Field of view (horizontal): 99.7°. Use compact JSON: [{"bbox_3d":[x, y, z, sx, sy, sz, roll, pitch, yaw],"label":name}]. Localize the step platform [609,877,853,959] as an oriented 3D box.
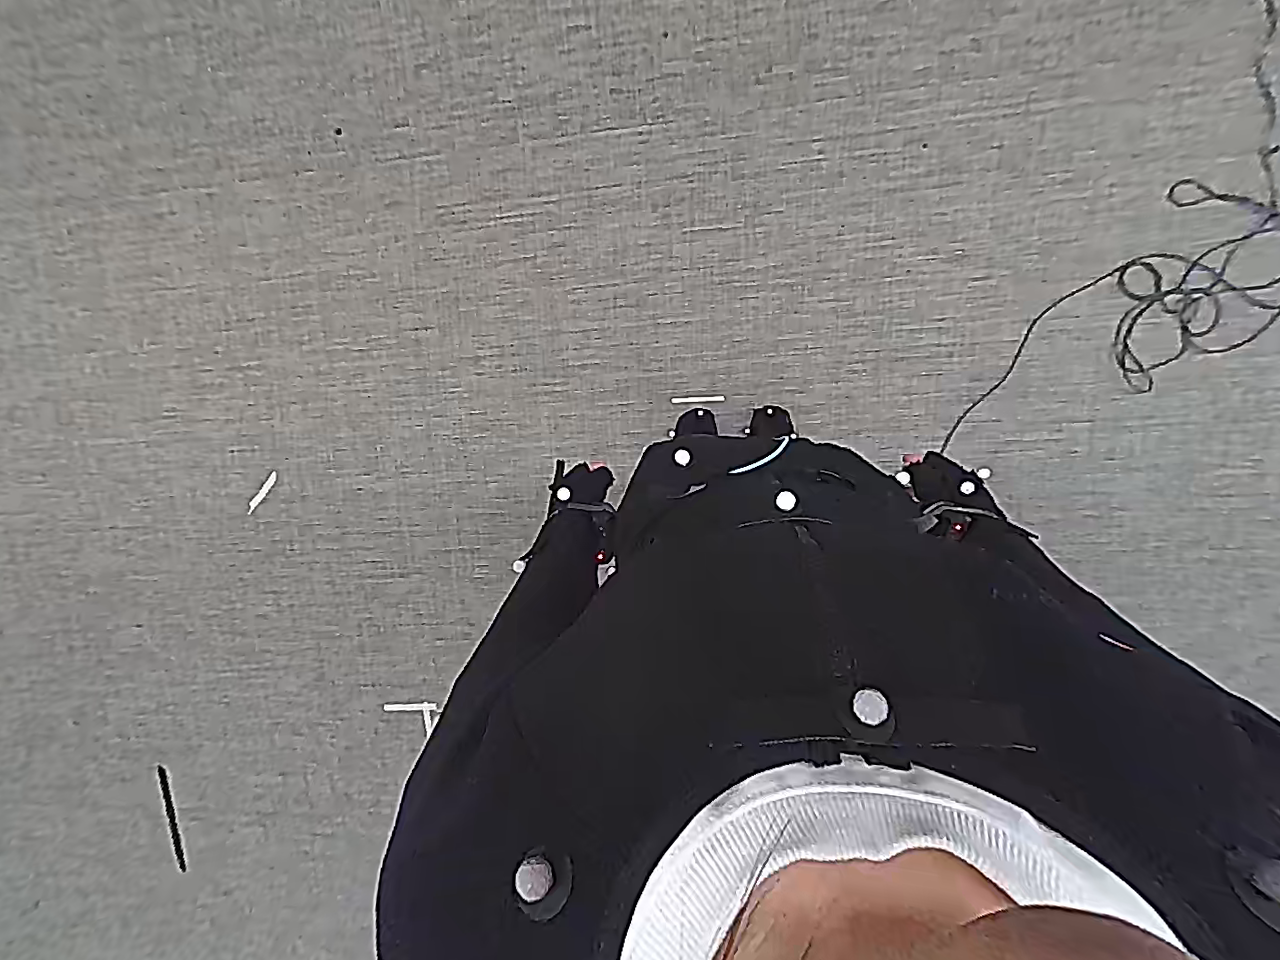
[{"bbox_3d":[0.254,1.355,1.545,0.684,0.204,0.286,-3,98,9],"label":"step platform"}]
